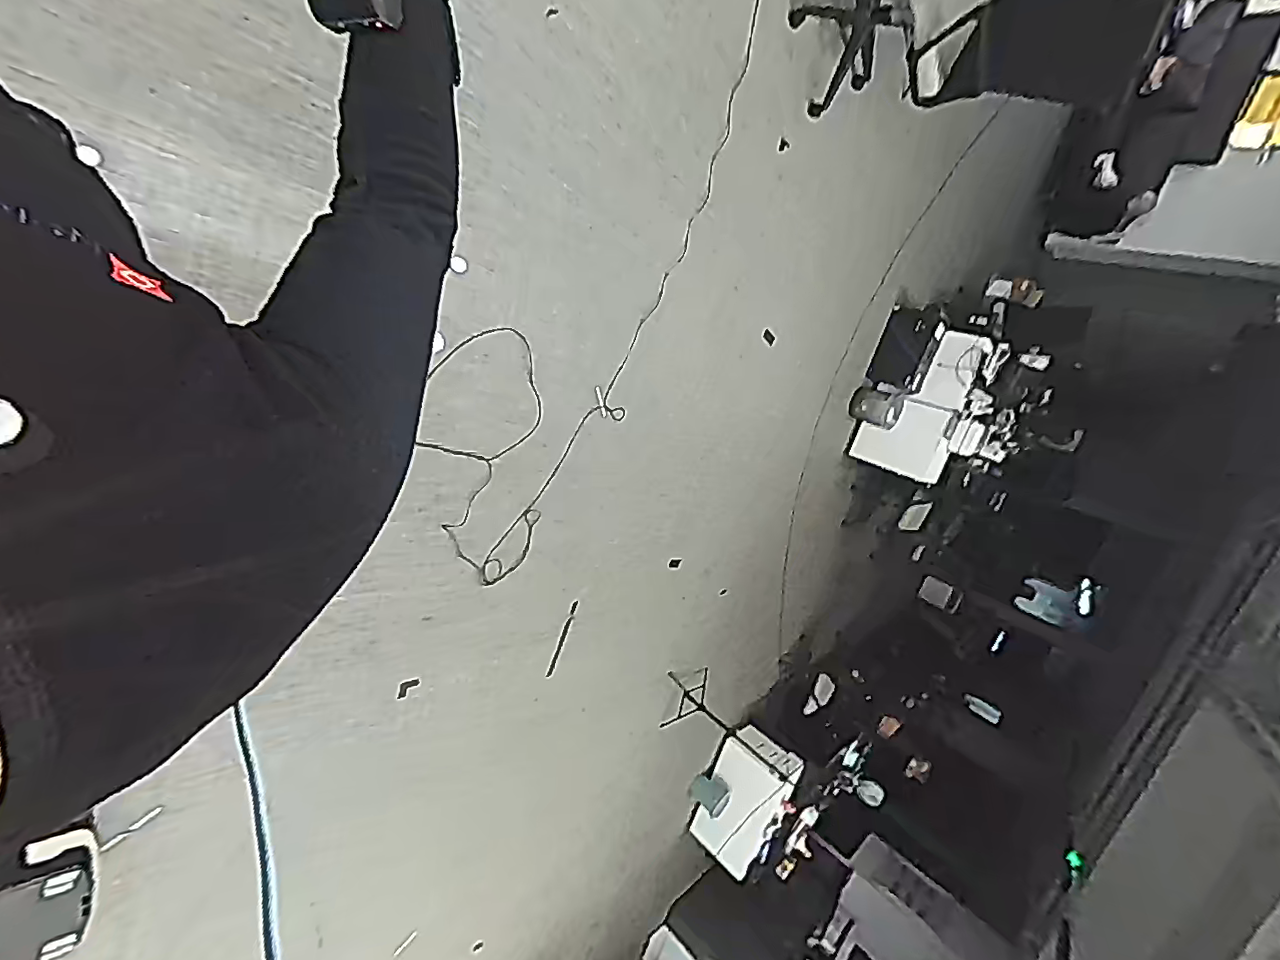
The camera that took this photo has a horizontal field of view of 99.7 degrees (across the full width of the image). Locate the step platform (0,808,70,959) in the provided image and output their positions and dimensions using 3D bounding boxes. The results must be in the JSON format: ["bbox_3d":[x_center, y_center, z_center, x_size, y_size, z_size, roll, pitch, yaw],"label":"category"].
[{"bbox_3d":[-1.601,0.945,1.047,0.684,0.204,0.286,2,110,-49],"label":"step platform"}]
